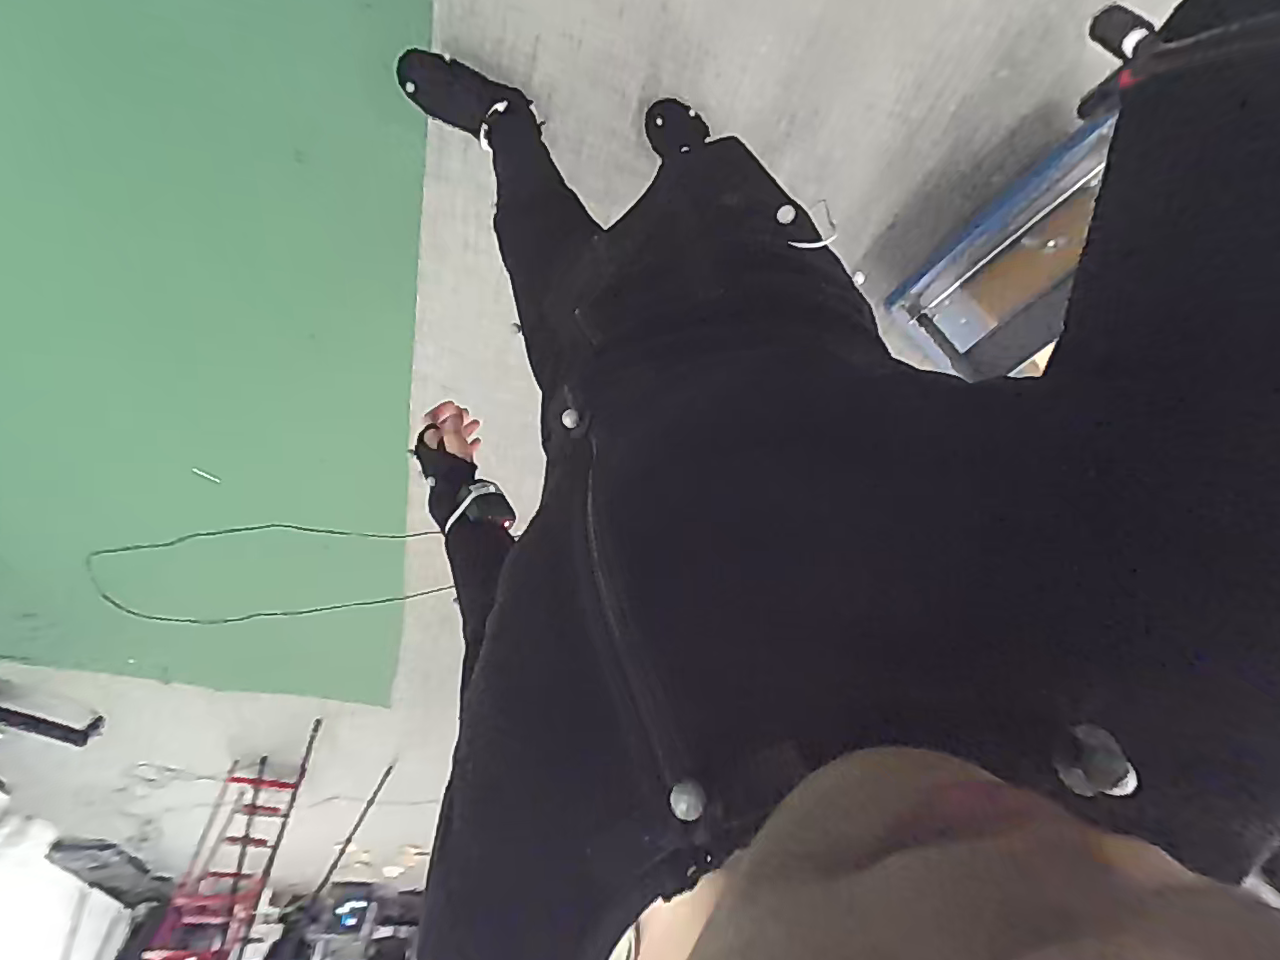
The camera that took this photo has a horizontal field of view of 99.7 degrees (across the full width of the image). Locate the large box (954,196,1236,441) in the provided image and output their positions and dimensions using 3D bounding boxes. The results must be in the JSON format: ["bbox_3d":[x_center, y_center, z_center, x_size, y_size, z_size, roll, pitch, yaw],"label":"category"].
[{"bbox_3d":[1.038,-0.371,1.265,0.408,0.320,0.320,32,124,-27],"label":"large box"}]
